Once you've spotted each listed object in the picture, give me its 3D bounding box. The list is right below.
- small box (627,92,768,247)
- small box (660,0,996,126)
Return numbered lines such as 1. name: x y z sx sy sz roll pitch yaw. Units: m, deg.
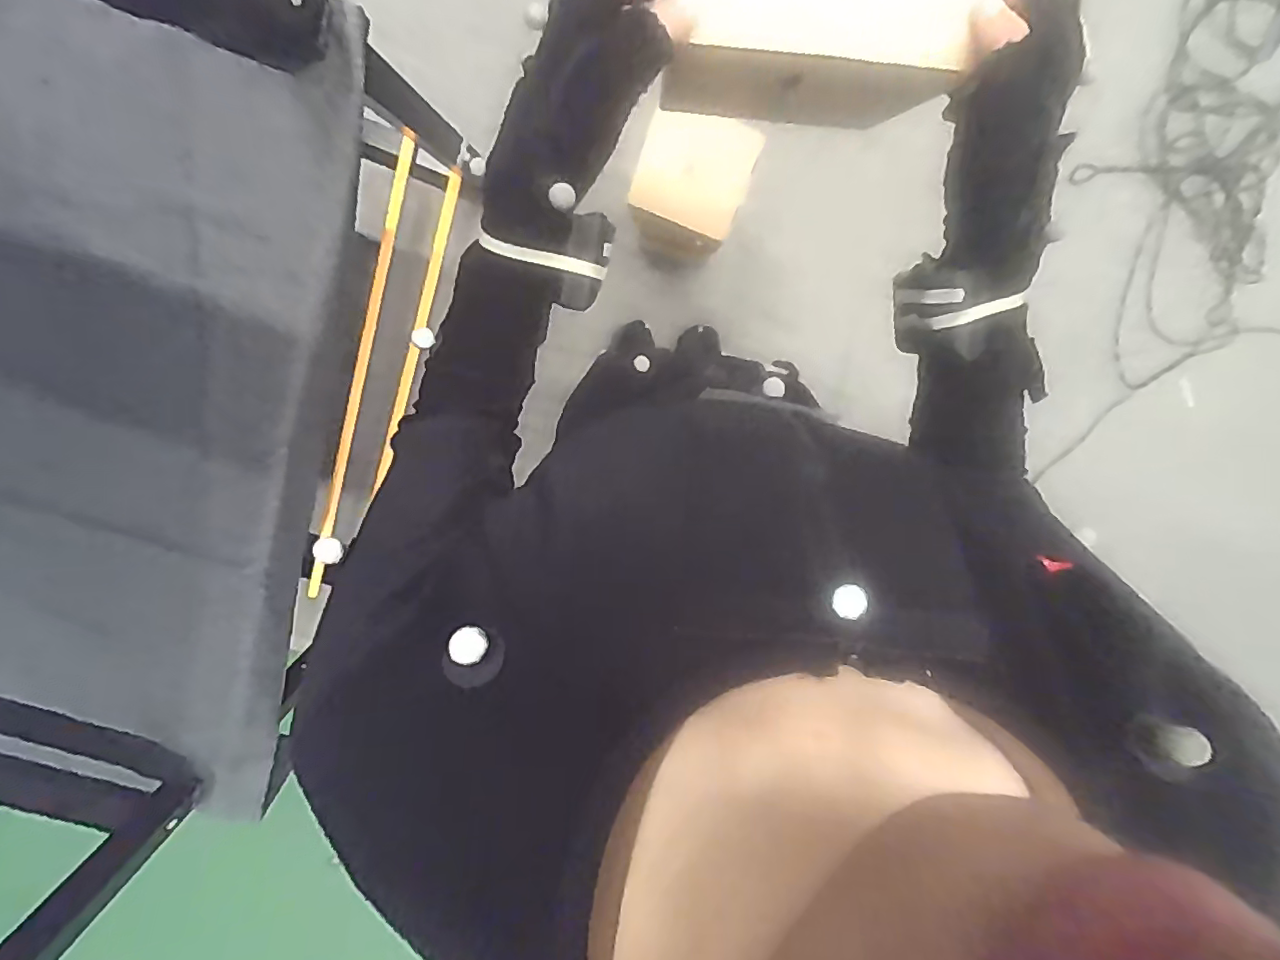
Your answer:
1. small box: 0.089 -0.510 0.917 0.179 0.176 0.168 20 107 -5
2. small box: 0.107 -0.336 0.338 0.179 0.176 0.168 4 115 -2
